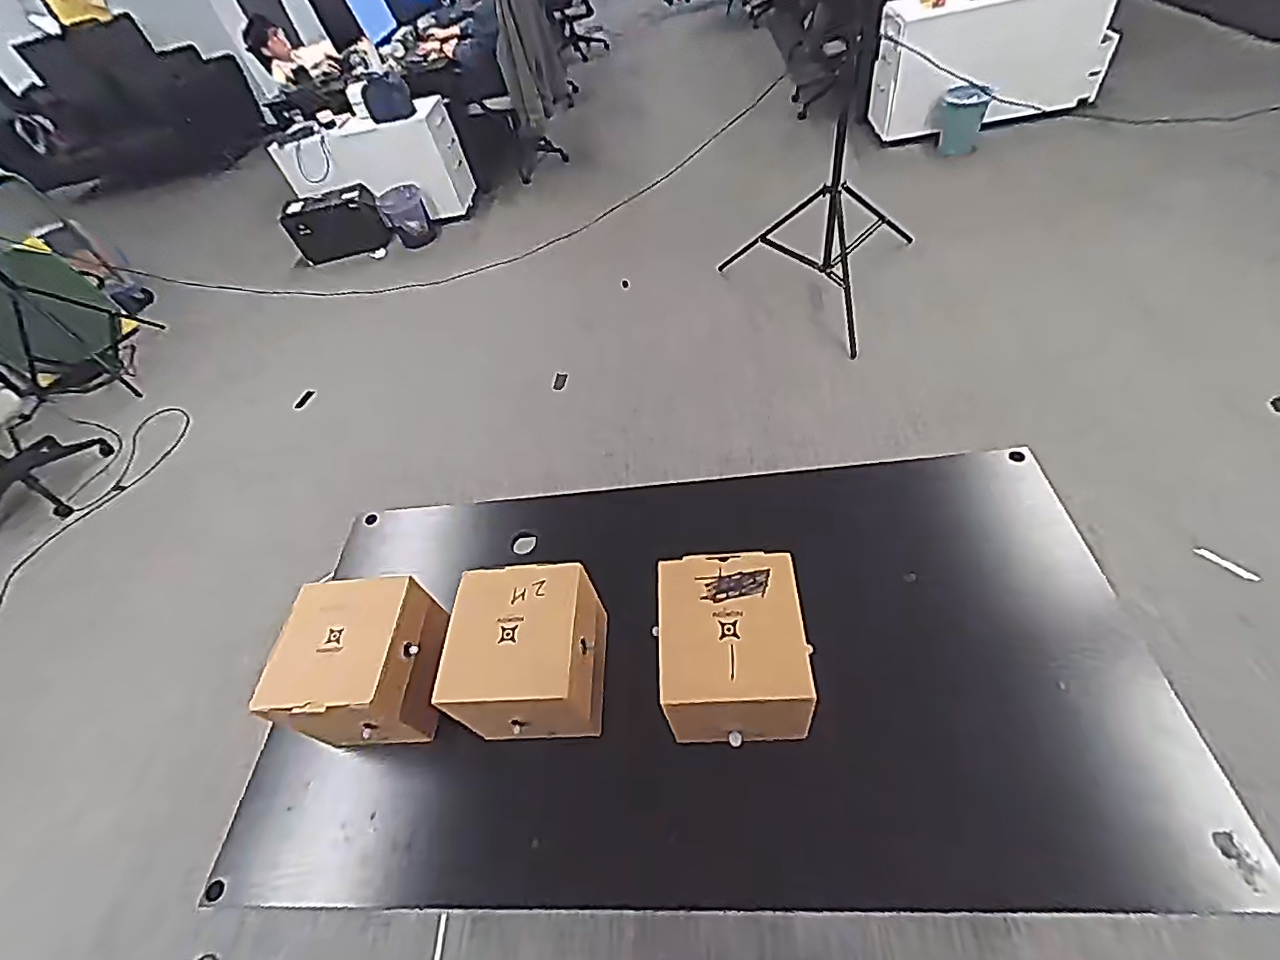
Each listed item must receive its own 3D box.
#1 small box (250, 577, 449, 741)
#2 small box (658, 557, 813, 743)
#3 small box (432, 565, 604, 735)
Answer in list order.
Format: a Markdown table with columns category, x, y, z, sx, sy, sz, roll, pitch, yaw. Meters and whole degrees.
| category | x | y | z | sx | sy | sz | roll | pitch | yaw |
| --- | --- | --- | --- | --- | --- | --- | --- | --- | --- |
| small box | -0.383 | 0.258 | 0.762 | 0.168 | 0.176 | 0.179 | -5 | 49 | 6 |
| small box | 0.114 | 0.217 | 0.683 | 0.168 | 0.176 | 0.179 | -6 | 51 | 8 |
| small box | -0.147 | 0.234 | 0.726 | 0.168 | 0.176 | 0.179 | -5 | 50 | 8 |
